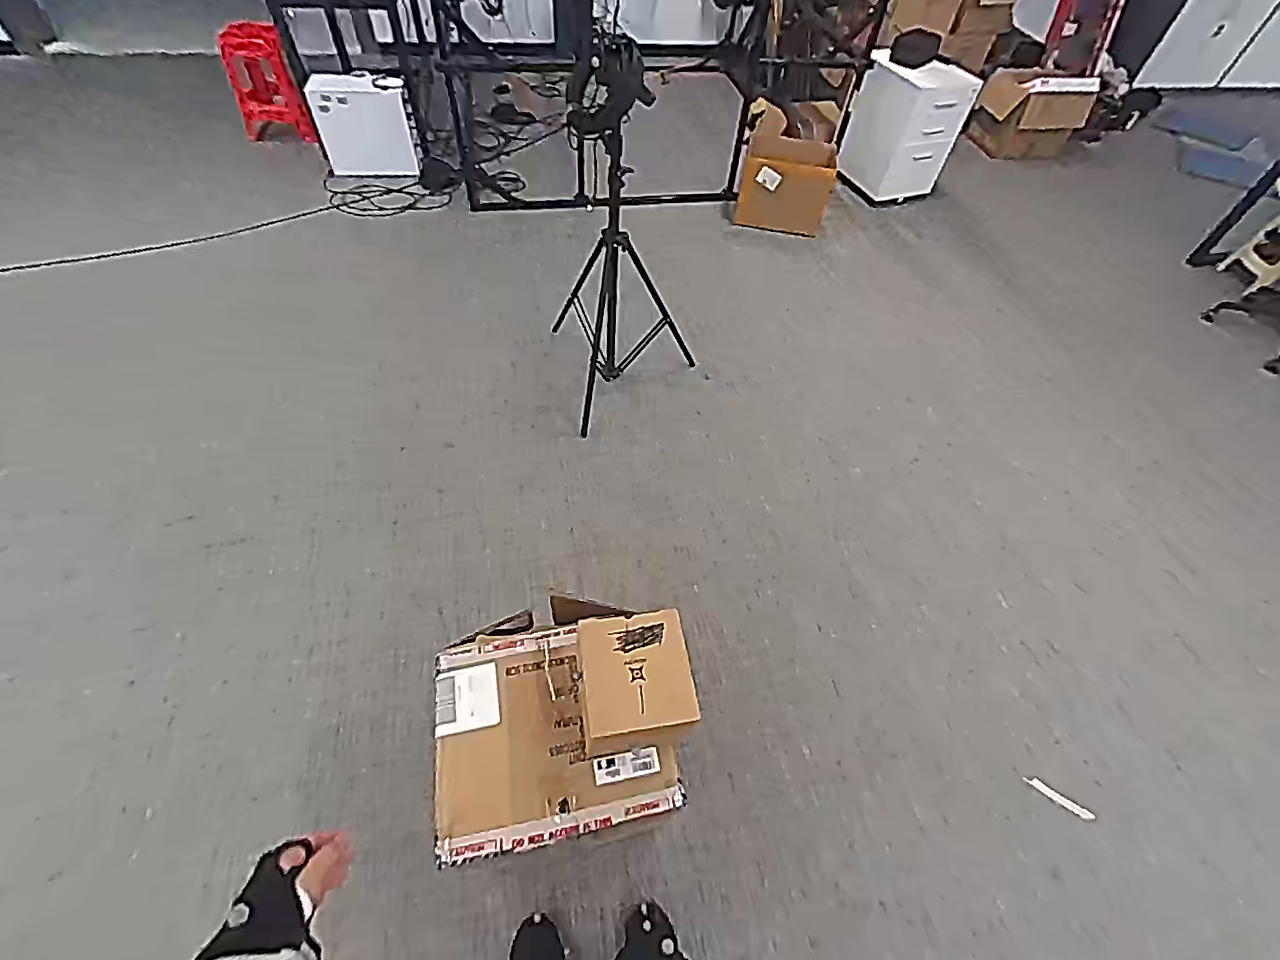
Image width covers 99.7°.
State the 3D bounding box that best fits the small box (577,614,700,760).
[{"bbox_3d":[-0.014,0.339,0.885,0.168,0.176,0.179,-5,56,-11],"label":"small box"}]
